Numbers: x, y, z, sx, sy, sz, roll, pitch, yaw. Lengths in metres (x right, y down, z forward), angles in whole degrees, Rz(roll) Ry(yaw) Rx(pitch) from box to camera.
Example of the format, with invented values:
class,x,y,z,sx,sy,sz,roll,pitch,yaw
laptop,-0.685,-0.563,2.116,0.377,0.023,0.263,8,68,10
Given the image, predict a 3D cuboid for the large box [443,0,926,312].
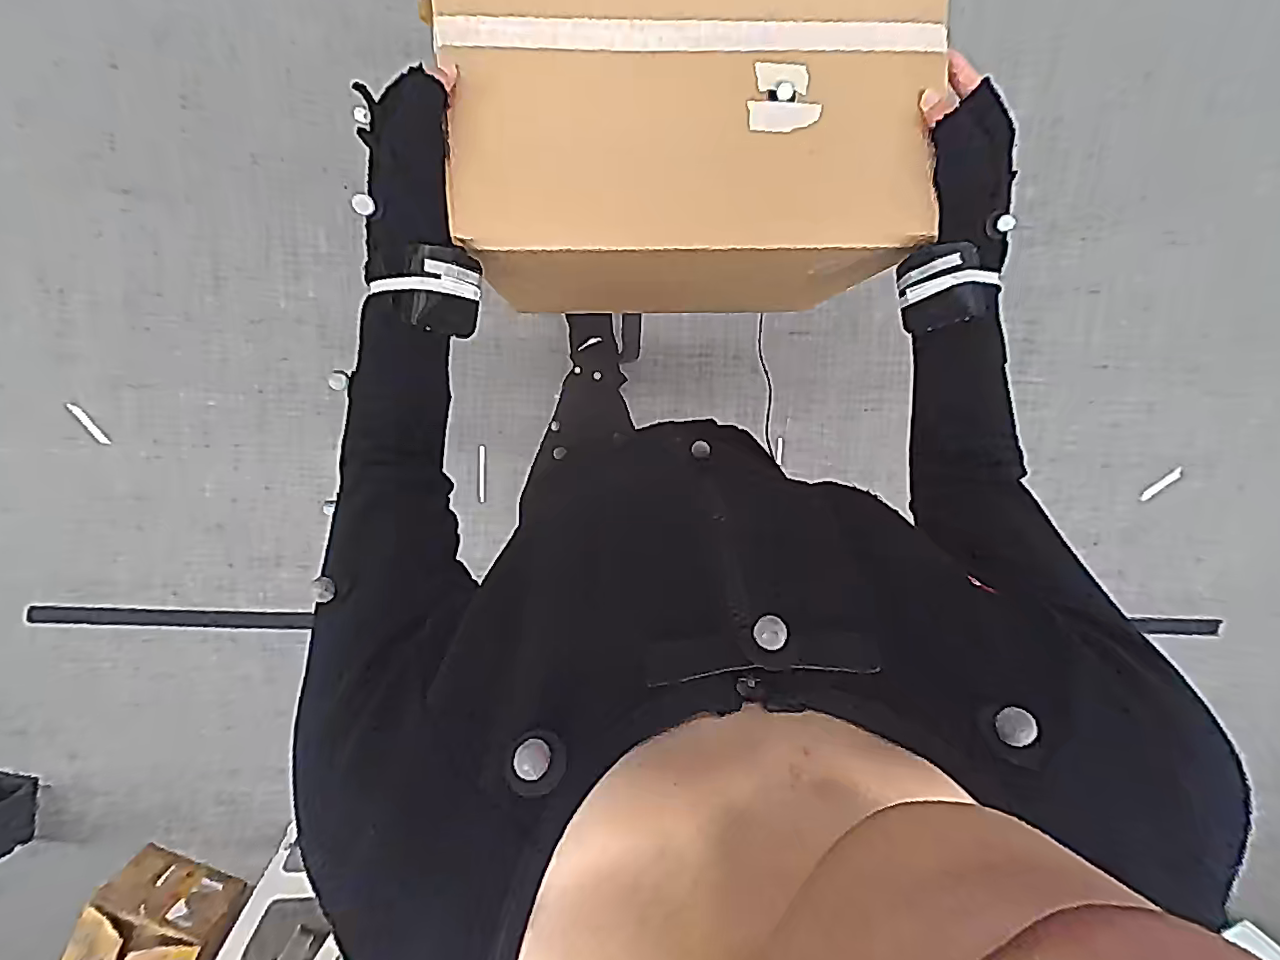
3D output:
class,x,y,z,sx,sy,sz,roll,pitch,yaw
large box,0.030,-0.373,0.593,0.408,0.320,0.320,-2,98,-4
